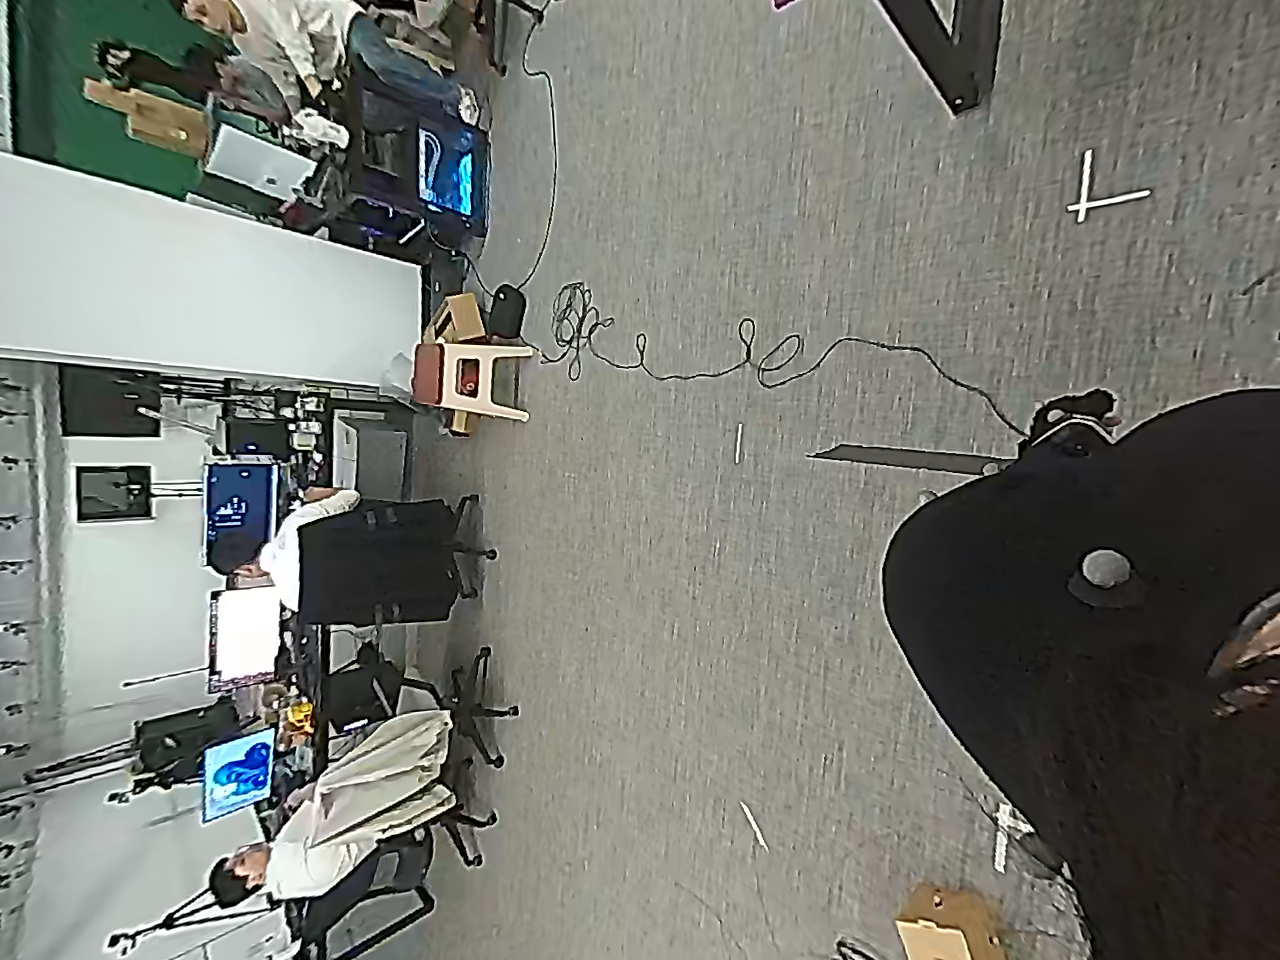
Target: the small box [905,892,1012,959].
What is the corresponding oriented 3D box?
[{"bbox_3d":[0.792,1.161,1.333,0.168,0.176,0.179,-30,69,43],"label":"small box"}]
